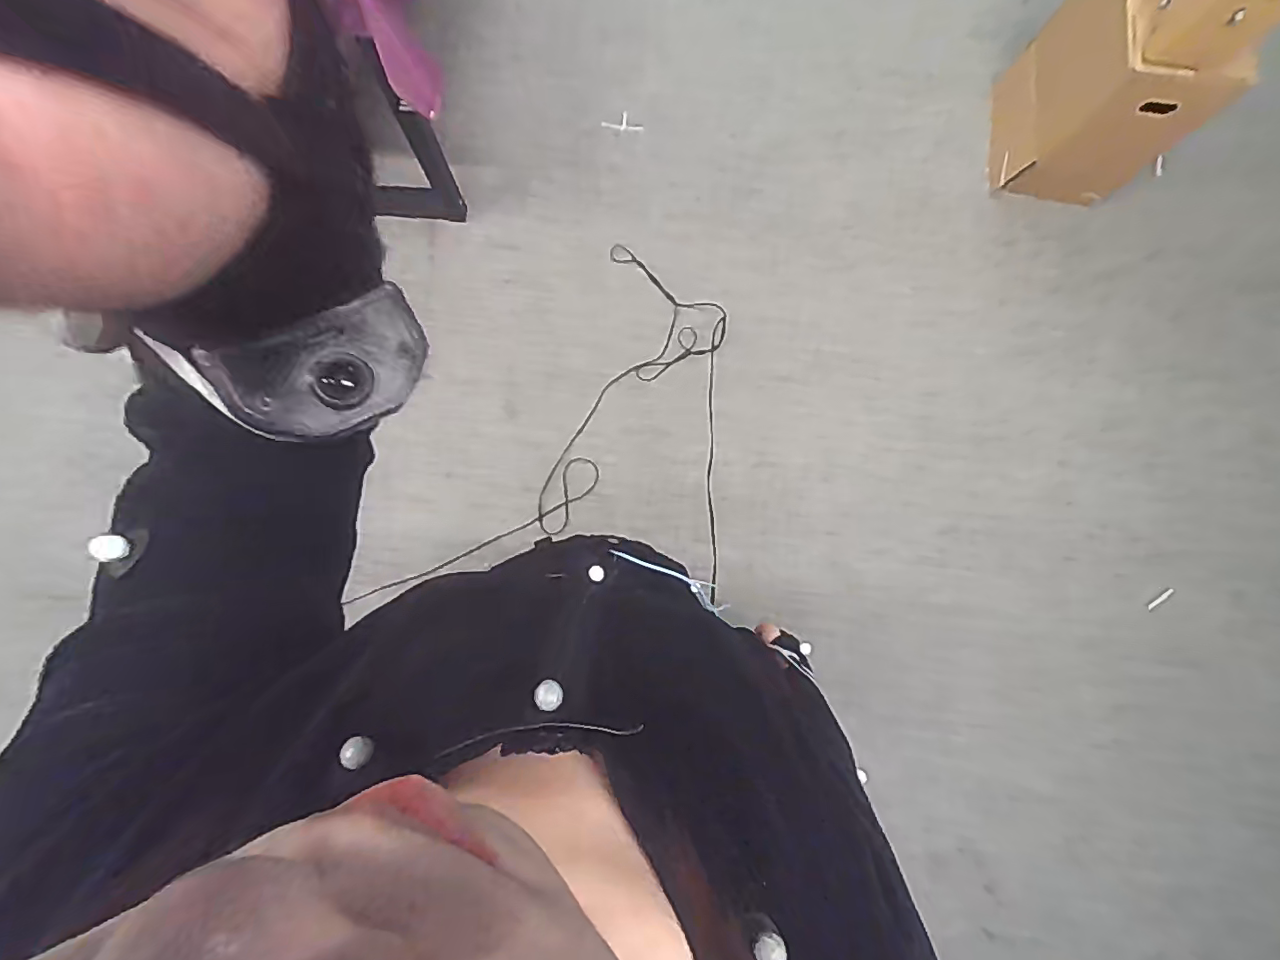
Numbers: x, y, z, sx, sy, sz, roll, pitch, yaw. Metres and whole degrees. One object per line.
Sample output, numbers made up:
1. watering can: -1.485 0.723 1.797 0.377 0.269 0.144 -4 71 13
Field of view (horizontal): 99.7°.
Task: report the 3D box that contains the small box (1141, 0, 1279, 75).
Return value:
1. small box: 1.278 -1.047 1.201 0.179 0.176 0.168 8 81 -2
